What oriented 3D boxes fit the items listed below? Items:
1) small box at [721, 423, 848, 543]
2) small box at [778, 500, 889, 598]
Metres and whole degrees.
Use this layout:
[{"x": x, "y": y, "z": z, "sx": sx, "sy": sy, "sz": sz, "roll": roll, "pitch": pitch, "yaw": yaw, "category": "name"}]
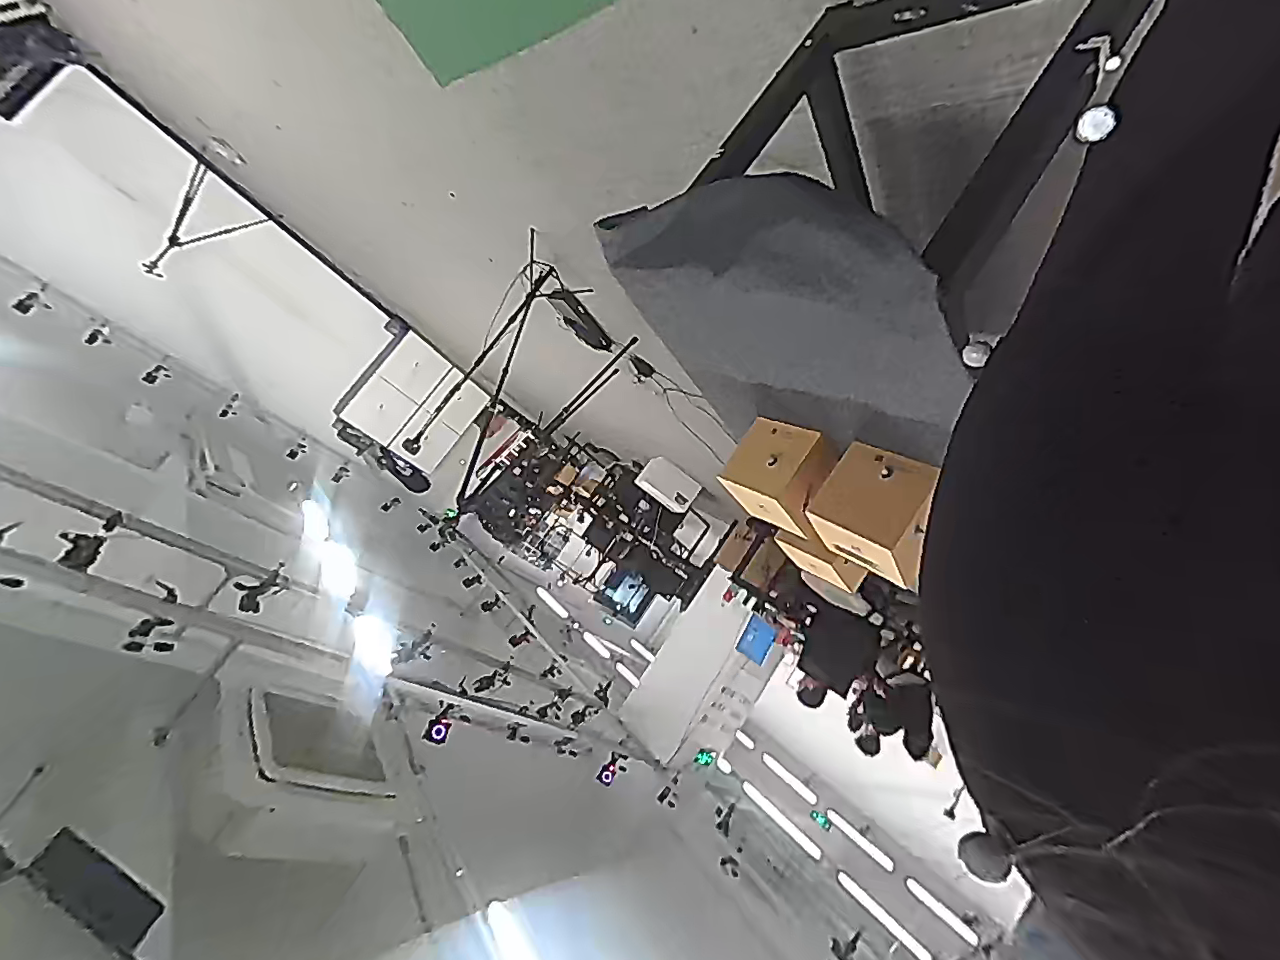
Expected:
[{"x": 0.311, "y": 0.001, "z": 1.151, "sx": 0.168, "sy": 0.176, "sz": 0.179, "roll": 25, "pitch": 167, "yaw": 49, "category": "small box"}, {"x": 0.477, "y": 0.155, "z": 1.326, "sx": 0.168, "sy": 0.176, "sz": 0.179, "roll": 27, "pitch": 168, "yaw": 48, "category": "small box"}]
